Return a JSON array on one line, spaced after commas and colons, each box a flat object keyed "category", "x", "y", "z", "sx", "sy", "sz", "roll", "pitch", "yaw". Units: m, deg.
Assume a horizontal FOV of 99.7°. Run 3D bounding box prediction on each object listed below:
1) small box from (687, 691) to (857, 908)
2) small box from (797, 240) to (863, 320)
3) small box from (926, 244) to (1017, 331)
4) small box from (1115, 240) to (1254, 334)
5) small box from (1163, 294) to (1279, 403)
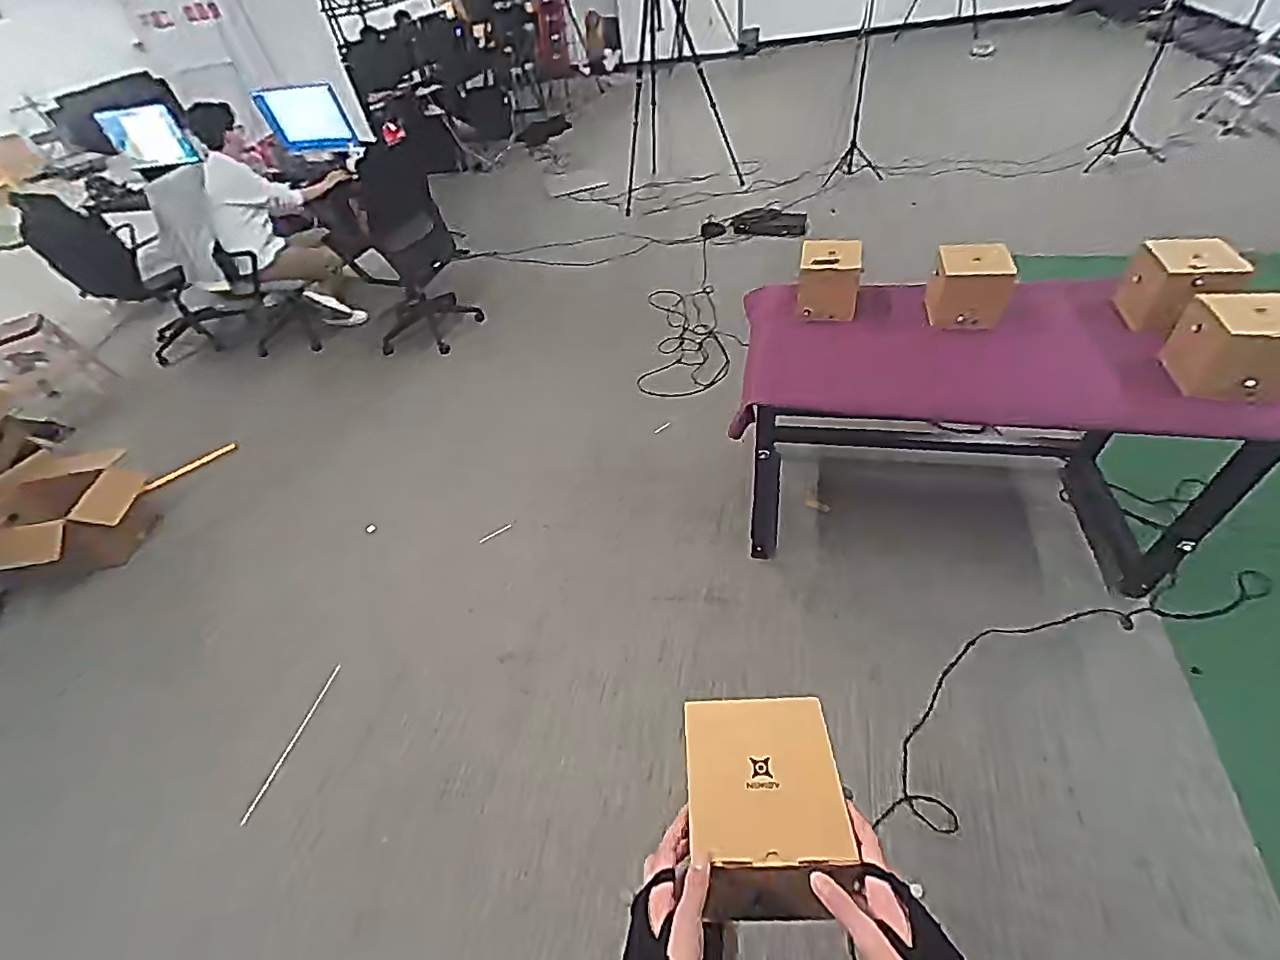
[{"category": "small box", "x": 0.141, "y": 0.377, "z": 0.646, "sx": 0.168, "sy": 0.176, "sz": 0.179, "roll": -3, "pitch": 38, "yaw": 5}, {"category": "small box", "x": 0.564, "y": -0.593, "z": 1.612, "sx": 0.168, "sy": 0.176, "sz": 0.179, "roll": 7, "pitch": 49, "yaw": 16}, {"category": "small box", "x": 0.909, "y": -0.534, "z": 1.500, "sx": 0.168, "sy": 0.176, "sz": 0.179, "roll": 5, "pitch": 48, "yaw": 15}, {"category": "small box", "x": 1.361, "y": -0.488, "z": 1.371, "sx": 0.168, "sy": 0.176, "sz": 0.179, "roll": 4, "pitch": 47, "yaw": 15}, {"category": "small box", "x": 1.309, "y": -0.289, "z": 1.184, "sx": 0.168, "sy": 0.176, "sz": 0.179, "roll": 5, "pitch": 47, "yaw": 17}]
